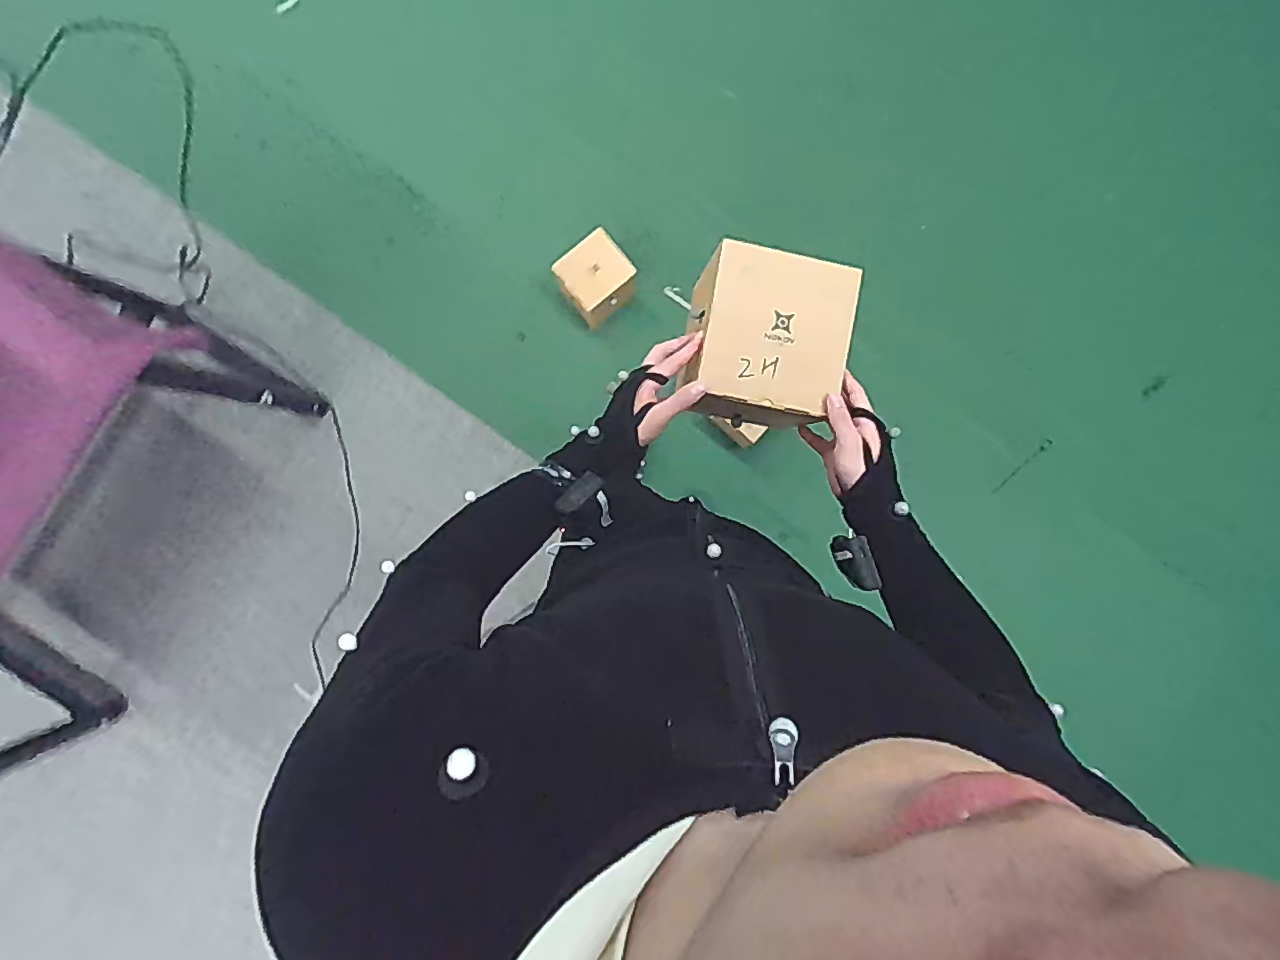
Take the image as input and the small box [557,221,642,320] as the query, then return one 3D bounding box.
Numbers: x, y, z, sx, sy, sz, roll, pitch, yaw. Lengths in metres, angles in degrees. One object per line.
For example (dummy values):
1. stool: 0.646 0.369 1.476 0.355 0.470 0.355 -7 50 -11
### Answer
1. small box: -0.112 -0.593 1.551 0.179 0.176 0.168 -39 90 2
